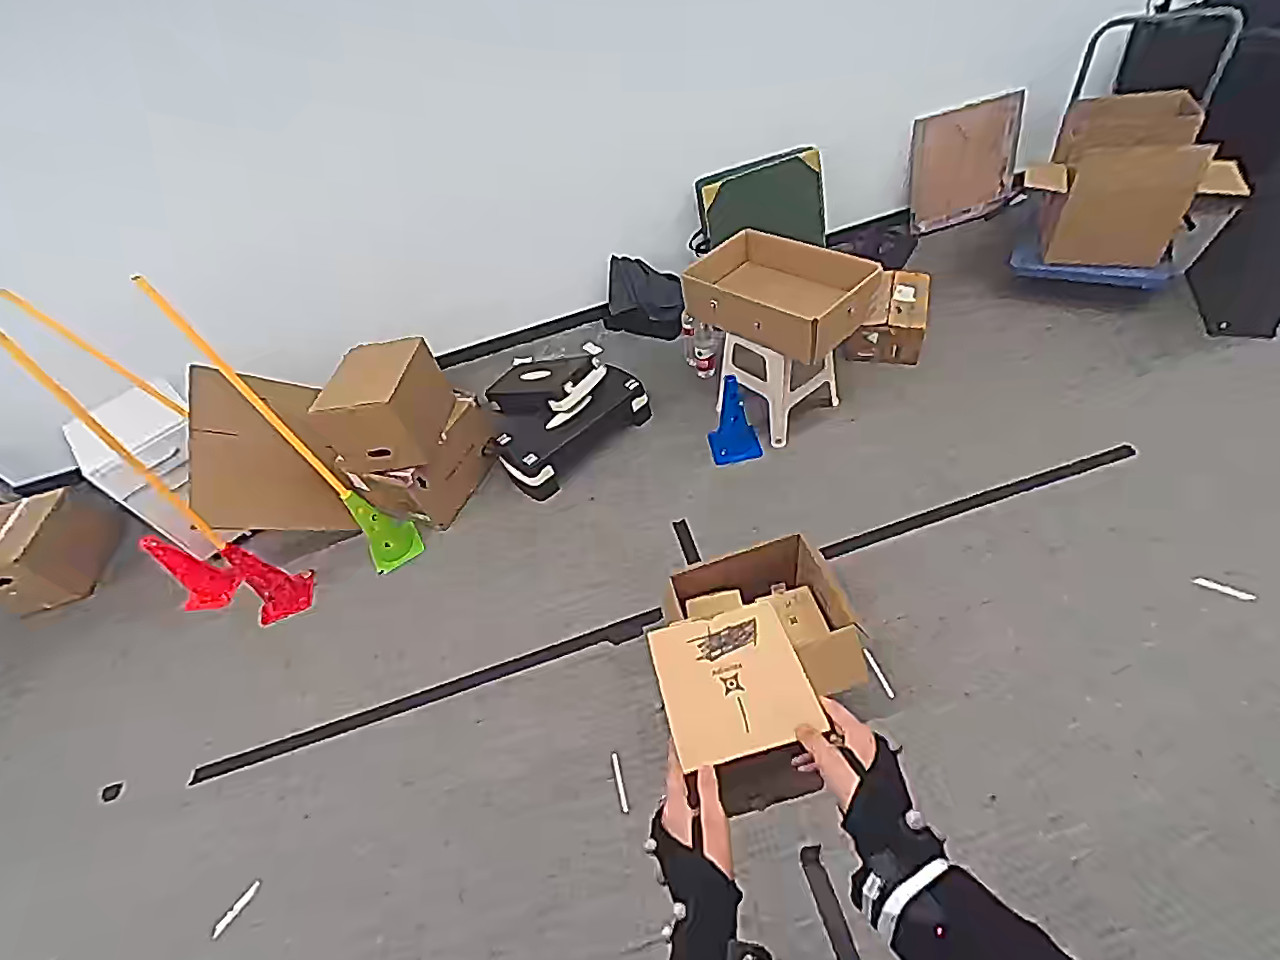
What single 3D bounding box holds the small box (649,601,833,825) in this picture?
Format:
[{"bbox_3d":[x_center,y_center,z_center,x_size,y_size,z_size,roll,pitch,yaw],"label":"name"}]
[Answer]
[{"bbox_3d":[0.117,0.285,0.668,0.168,0.176,0.179,-16,41,-3],"label":"small box"}]
